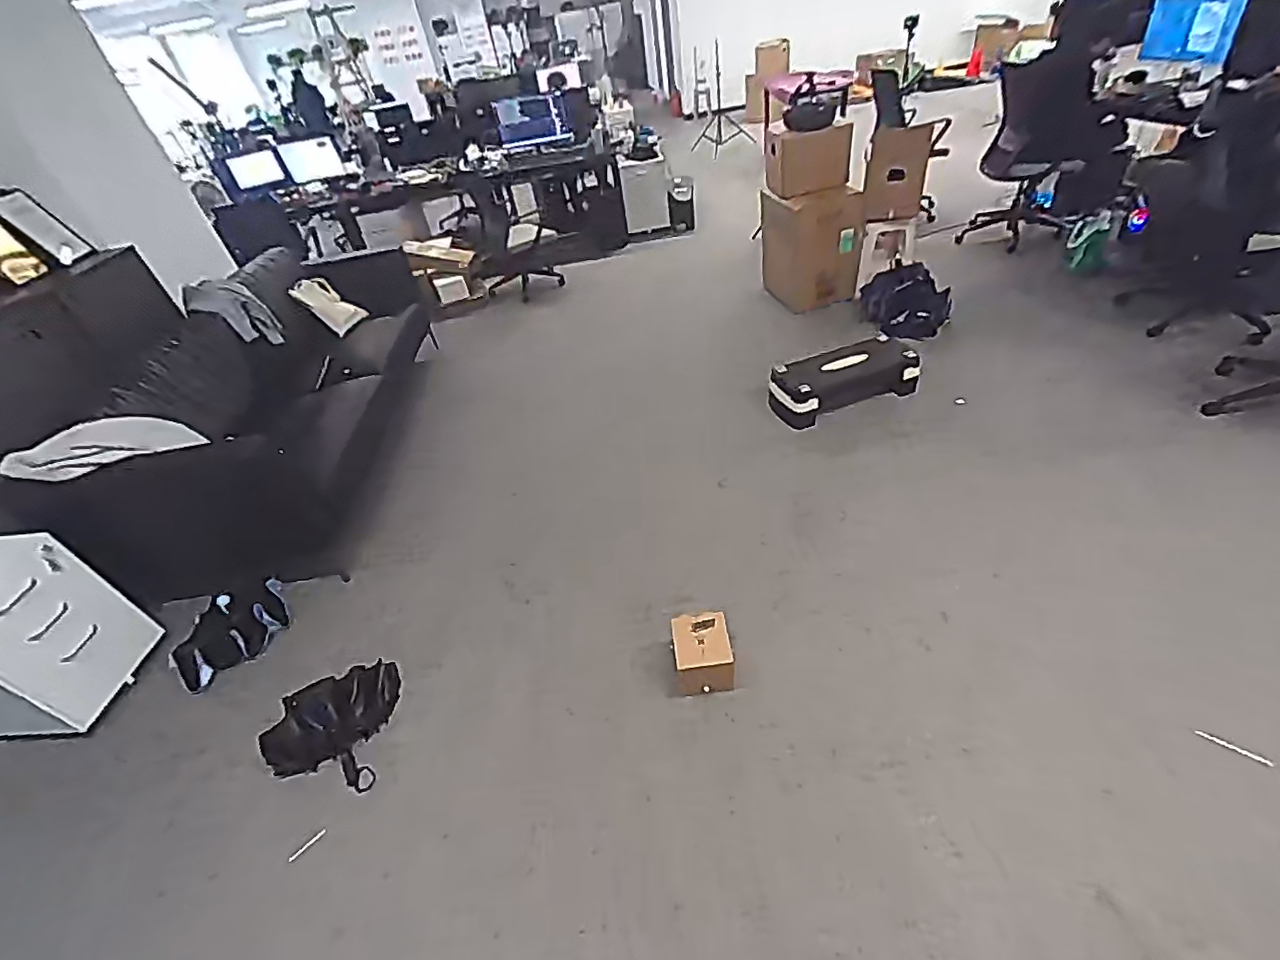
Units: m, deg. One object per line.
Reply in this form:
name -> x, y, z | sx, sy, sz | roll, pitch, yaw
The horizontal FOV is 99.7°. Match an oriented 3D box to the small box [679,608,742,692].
small box -> 0.216, 0.520, 1.655 | 0.168, 0.176, 0.179 | -9, 41, 4
